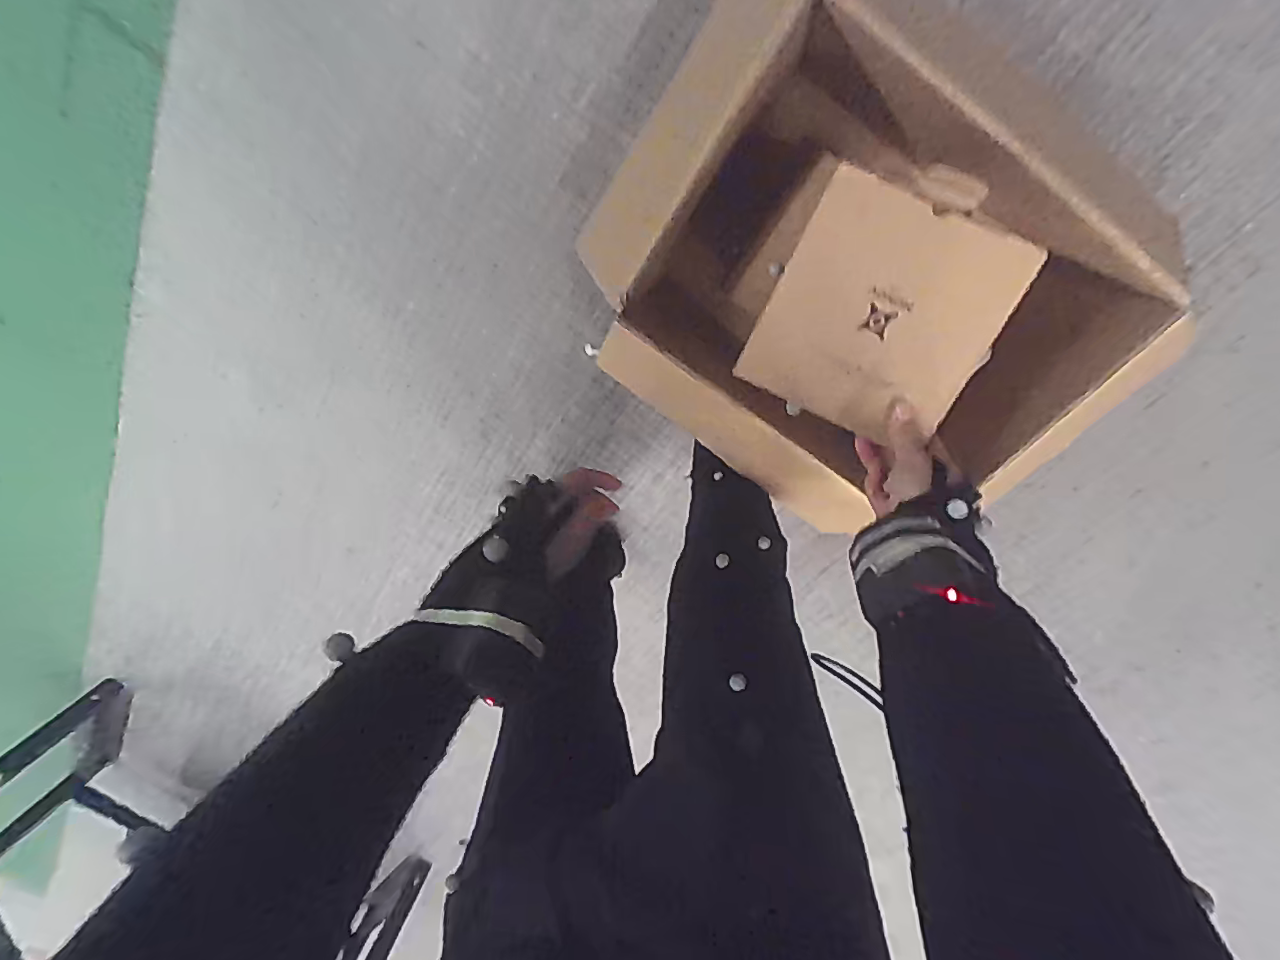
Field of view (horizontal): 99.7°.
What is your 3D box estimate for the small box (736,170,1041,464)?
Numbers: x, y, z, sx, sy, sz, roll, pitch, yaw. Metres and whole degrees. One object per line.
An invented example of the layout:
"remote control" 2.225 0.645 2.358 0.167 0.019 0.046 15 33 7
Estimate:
"small box" 0.201 -0.139 0.496 0.168 0.176 0.179 27 106 7
